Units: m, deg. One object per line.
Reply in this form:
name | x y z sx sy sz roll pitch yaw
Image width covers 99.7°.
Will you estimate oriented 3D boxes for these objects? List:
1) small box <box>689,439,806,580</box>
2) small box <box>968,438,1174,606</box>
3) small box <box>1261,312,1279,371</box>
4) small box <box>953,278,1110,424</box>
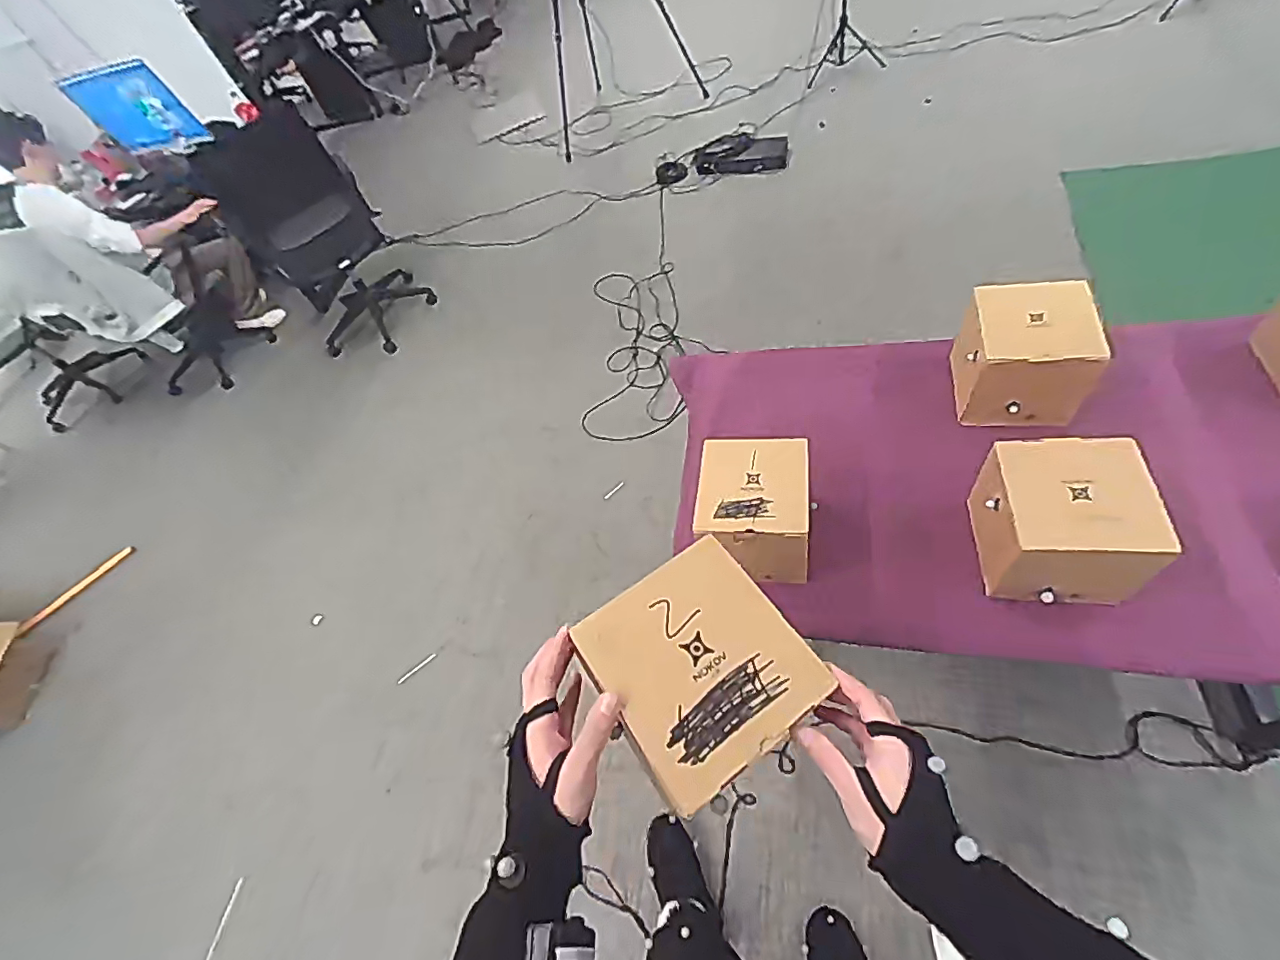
small box | 0.185 0.052 0.889 0.168 0.176 0.179 0 56 17
small box | 0.582 0.060 0.763 0.168 0.176 0.179 0 57 18
small box | 1.083 -0.219 0.784 0.168 0.176 0.179 -2 58 19
small box | 0.649 -0.216 0.924 0.168 0.176 0.179 2 61 18
